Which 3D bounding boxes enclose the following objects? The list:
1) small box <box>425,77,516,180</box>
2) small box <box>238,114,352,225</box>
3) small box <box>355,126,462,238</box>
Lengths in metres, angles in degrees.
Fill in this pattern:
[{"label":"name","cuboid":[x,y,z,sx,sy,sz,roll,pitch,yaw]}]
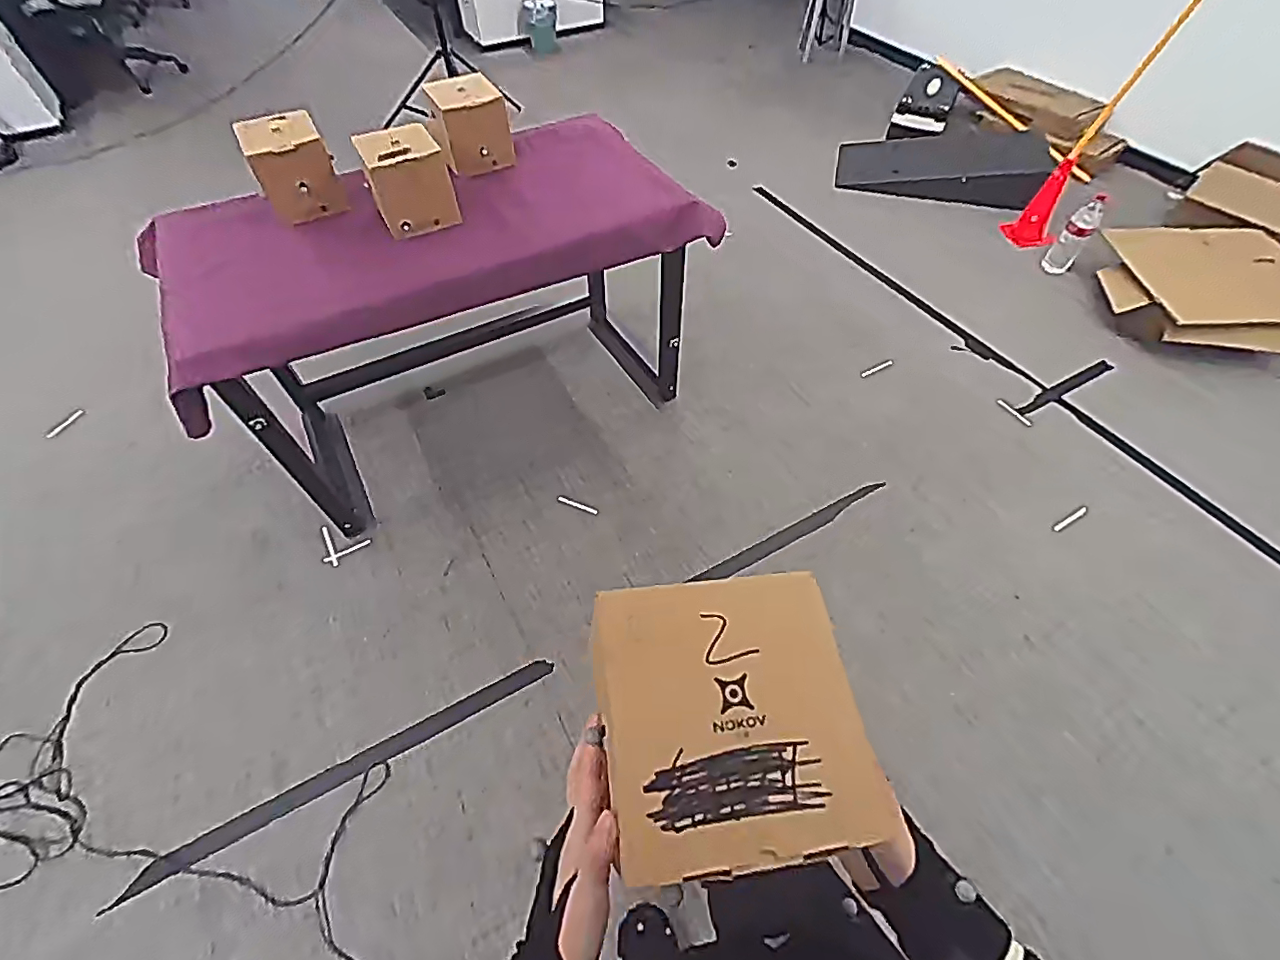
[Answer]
[{"label":"small box","cuboid":[-0.451,-0.942,1.453,0.168,0.176,0.179,-26,60,-16]},{"label":"small box","cuboid":[-0.833,-0.749,1.318,0.168,0.176,0.179,-25,61,-17]},{"label":"small box","cuboid":[-0.545,-0.702,1.287,0.168,0.176,0.179,-25,58,-16]}]
